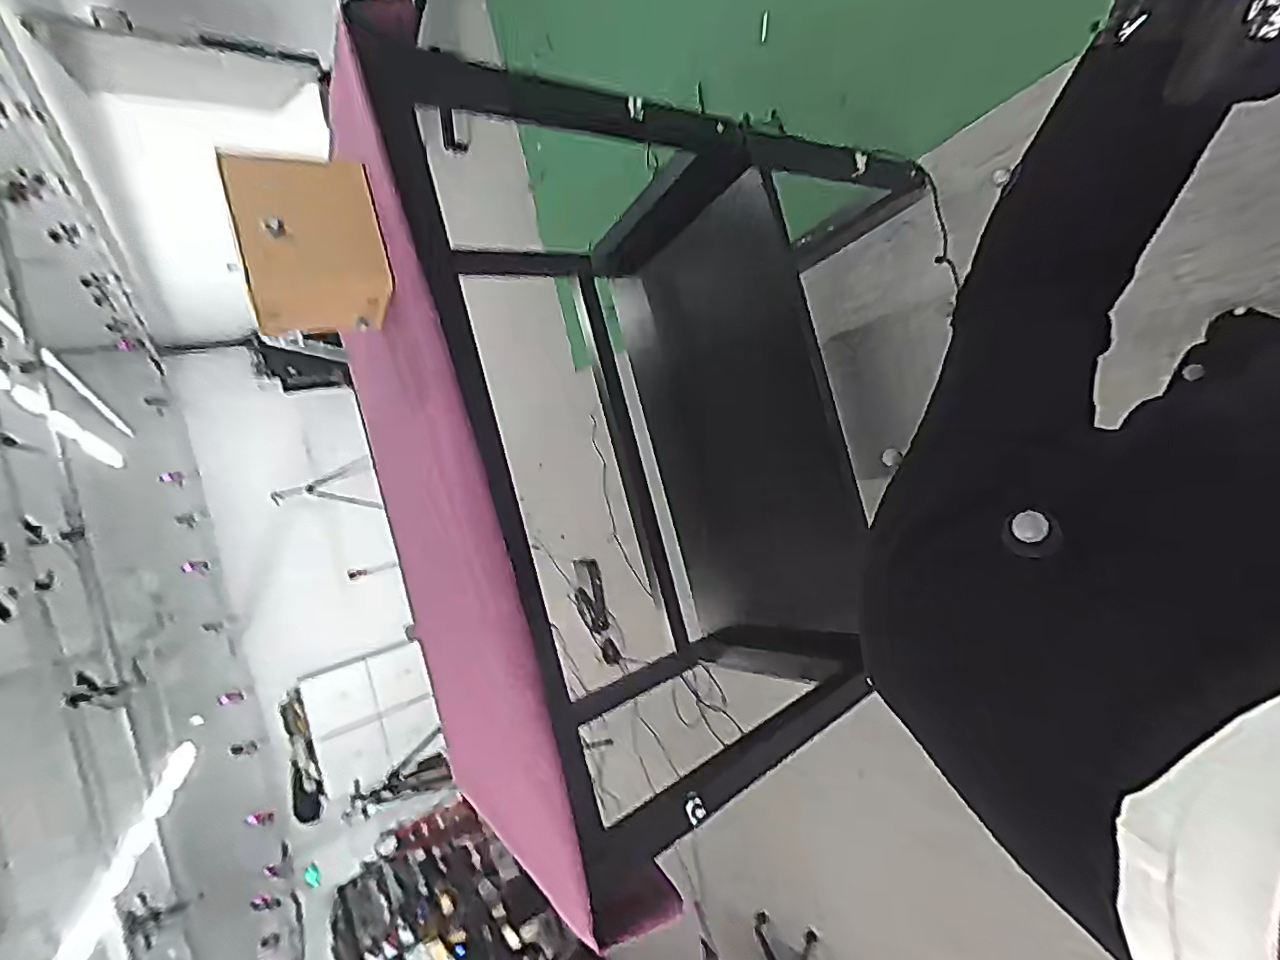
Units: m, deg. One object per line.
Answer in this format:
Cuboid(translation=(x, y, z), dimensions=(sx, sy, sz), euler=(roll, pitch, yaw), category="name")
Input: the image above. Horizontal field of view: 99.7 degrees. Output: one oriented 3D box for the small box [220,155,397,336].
Cuboid(translation=(-0.459, -0.322, 0.765), dimensions=(0.168, 0.176, 0.179), euler=(-16, 90, 57), category="small box")
